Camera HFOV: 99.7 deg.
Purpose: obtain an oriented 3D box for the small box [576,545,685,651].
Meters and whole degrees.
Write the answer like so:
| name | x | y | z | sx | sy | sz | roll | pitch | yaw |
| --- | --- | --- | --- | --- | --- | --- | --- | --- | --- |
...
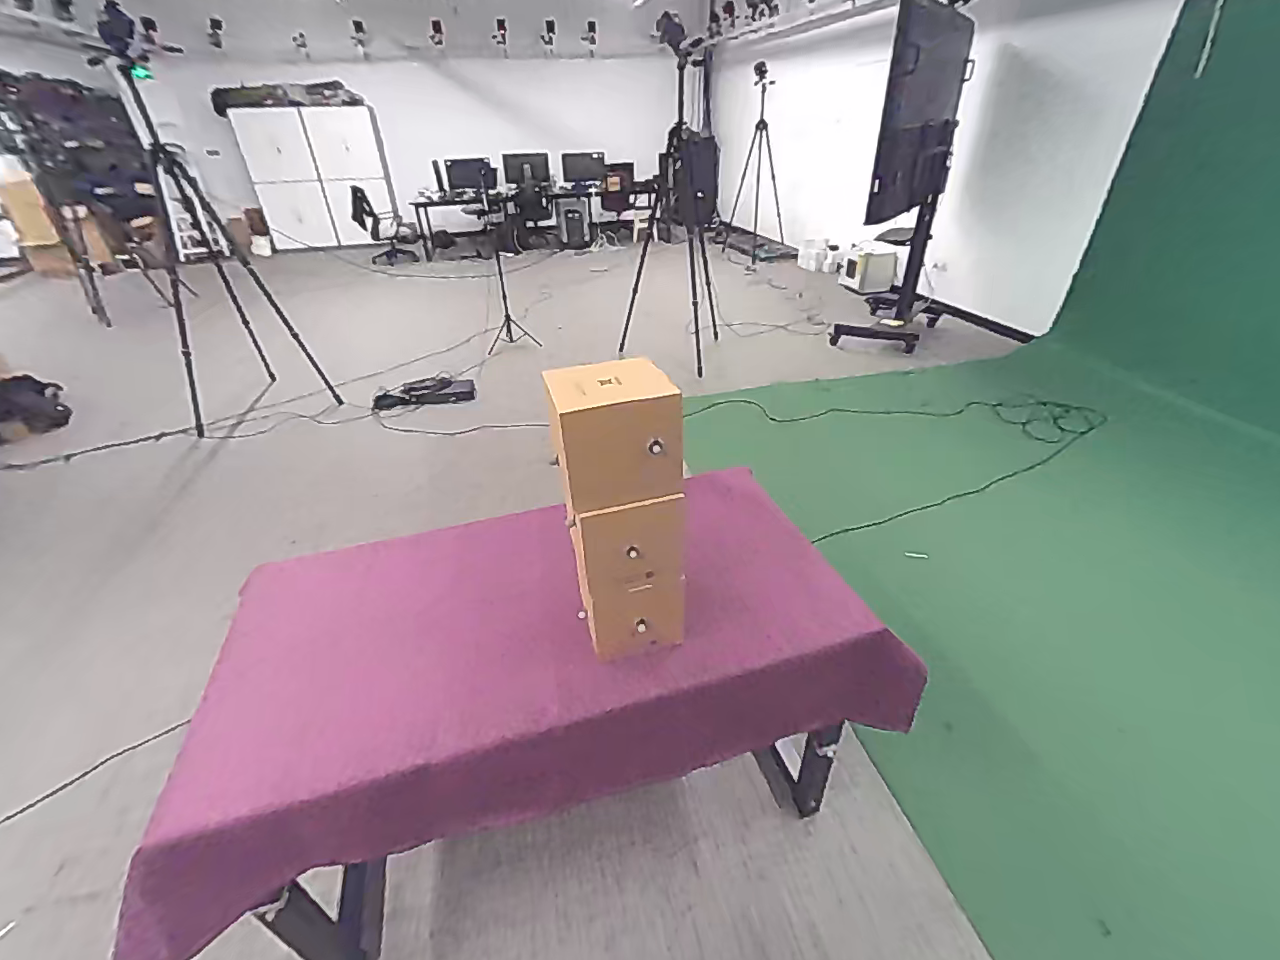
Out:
| name | x | y | z | sx | sy | sz | roll | pitch | yaw |
| --- | --- | --- | --- | --- | --- | --- | --- | --- | --- |
| small box | -0.019 | 0.198 | 1.012 | 0.168 | 0.176 | 0.179 | -10 | 35 | -12 |

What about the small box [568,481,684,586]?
| name | x | y | z | sx | sy | sz | roll | pitch | yaw |
| --- | --- | --- | --- | --- | --- | --- | --- | --- | --- |
| small box | -0.028 | 0.061 | 0.919 | 0.168 | 0.176 | 0.179 | -10 | 34 | -13 |

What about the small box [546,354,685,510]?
| name | x | y | z | sx | sy | sz | roll | pitch | yaw |
| --- | --- | --- | --- | --- | --- | --- | --- | --- | --- |
| small box | -0.039 | -0.077 | 0.832 | 0.179 | 0.176 | 0.168 | -11 | 34 | -12 |
